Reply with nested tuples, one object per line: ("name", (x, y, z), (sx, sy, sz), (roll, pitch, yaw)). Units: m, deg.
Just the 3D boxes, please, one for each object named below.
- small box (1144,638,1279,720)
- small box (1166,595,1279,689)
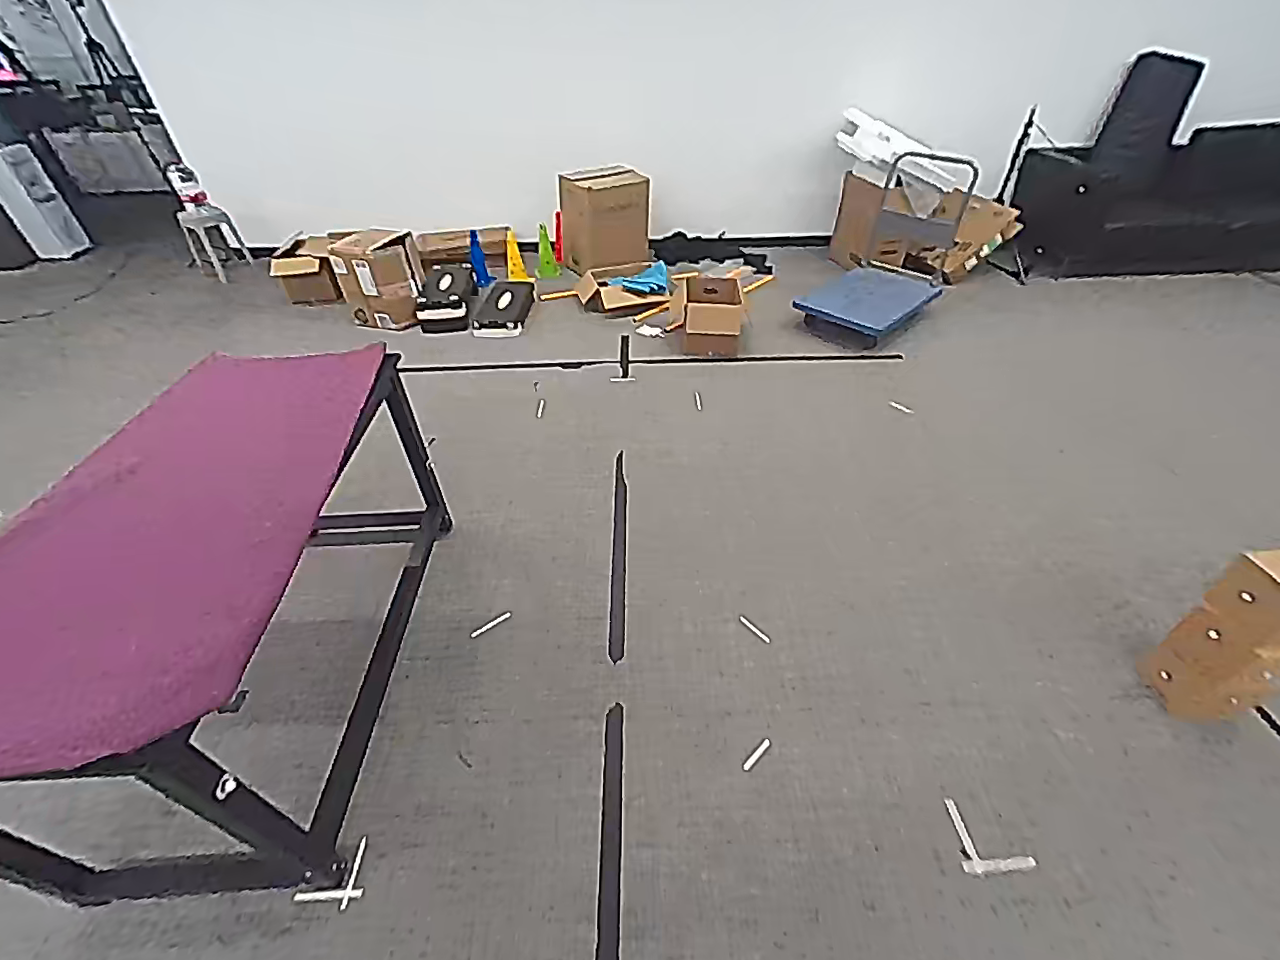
("small box", (1.585, 0.558, 1.522), (0.179, 0.176, 0.168), (0, 41, 1))
("small box", (1.573, 0.432, 1.421), (0.168, 0.176, 0.179), (-6, 40, -5))
